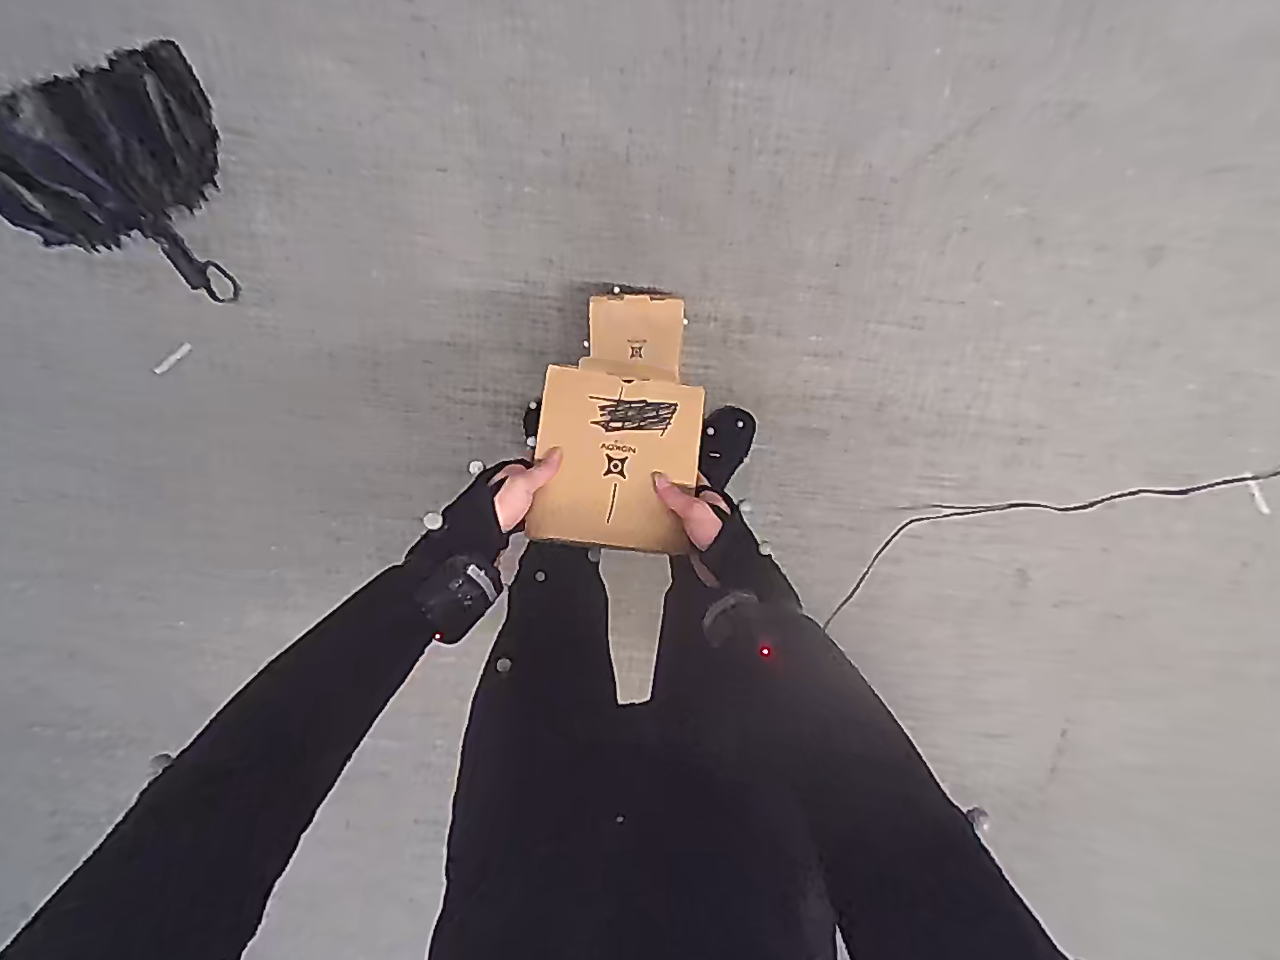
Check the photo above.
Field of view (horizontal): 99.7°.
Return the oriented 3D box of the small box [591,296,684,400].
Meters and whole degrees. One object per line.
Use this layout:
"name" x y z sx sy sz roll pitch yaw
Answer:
"small box" -0.008 -0.258 1.033 0.168 0.176 0.179 0 112 -1
